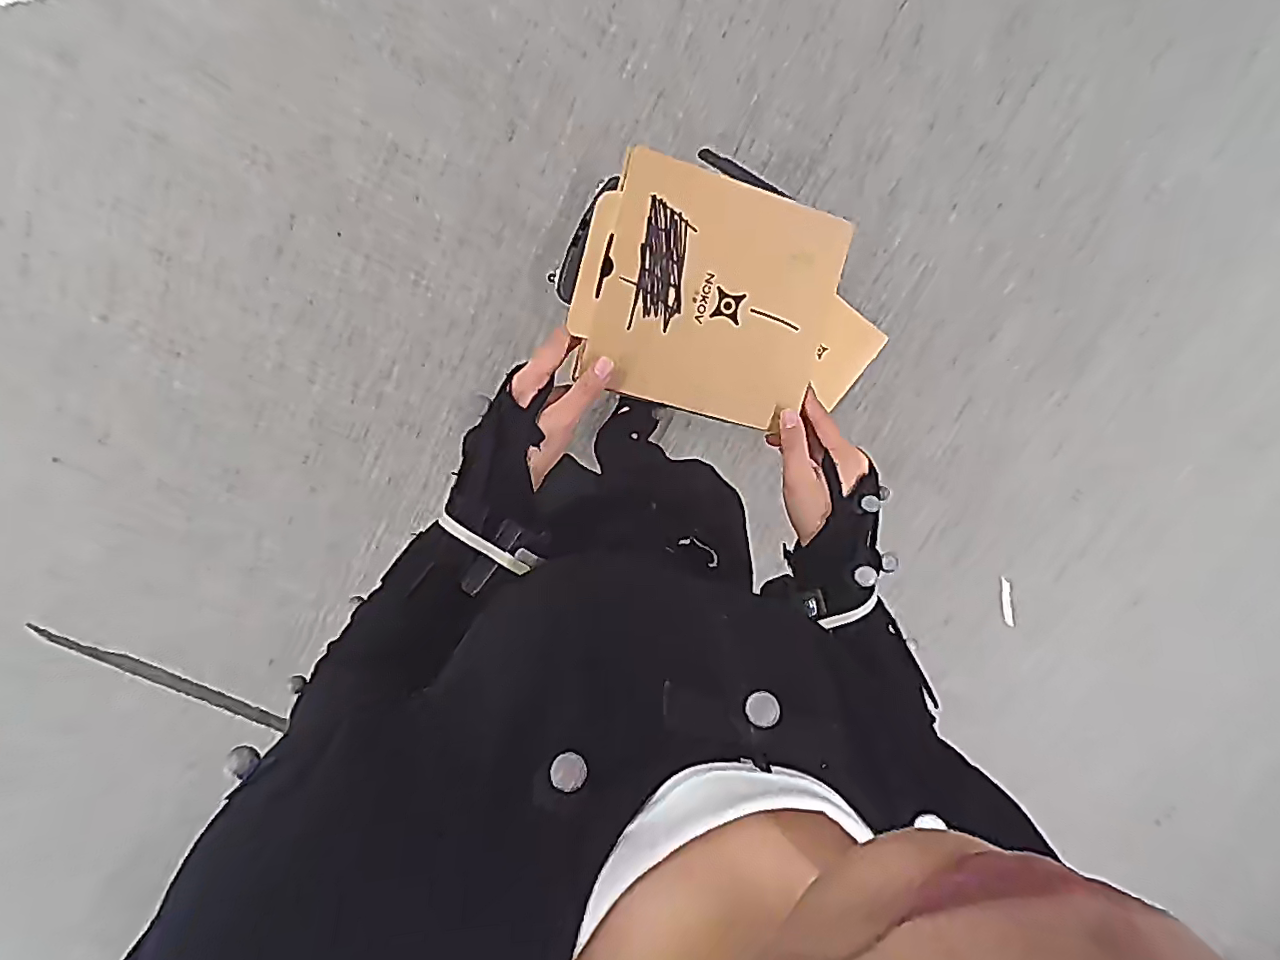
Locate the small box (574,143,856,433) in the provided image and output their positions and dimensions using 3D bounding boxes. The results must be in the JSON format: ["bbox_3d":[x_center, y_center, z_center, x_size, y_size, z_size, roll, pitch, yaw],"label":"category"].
[{"bbox_3d":[0.044,-0.145,0.466,0.179,0.176,0.168,13,99,-11],"label":"small box"}]

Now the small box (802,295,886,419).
[{"bbox_3d":[0.285,-0.235,0.956,0.179,0.176,0.168,35,102,-10],"label":"small box"}]
